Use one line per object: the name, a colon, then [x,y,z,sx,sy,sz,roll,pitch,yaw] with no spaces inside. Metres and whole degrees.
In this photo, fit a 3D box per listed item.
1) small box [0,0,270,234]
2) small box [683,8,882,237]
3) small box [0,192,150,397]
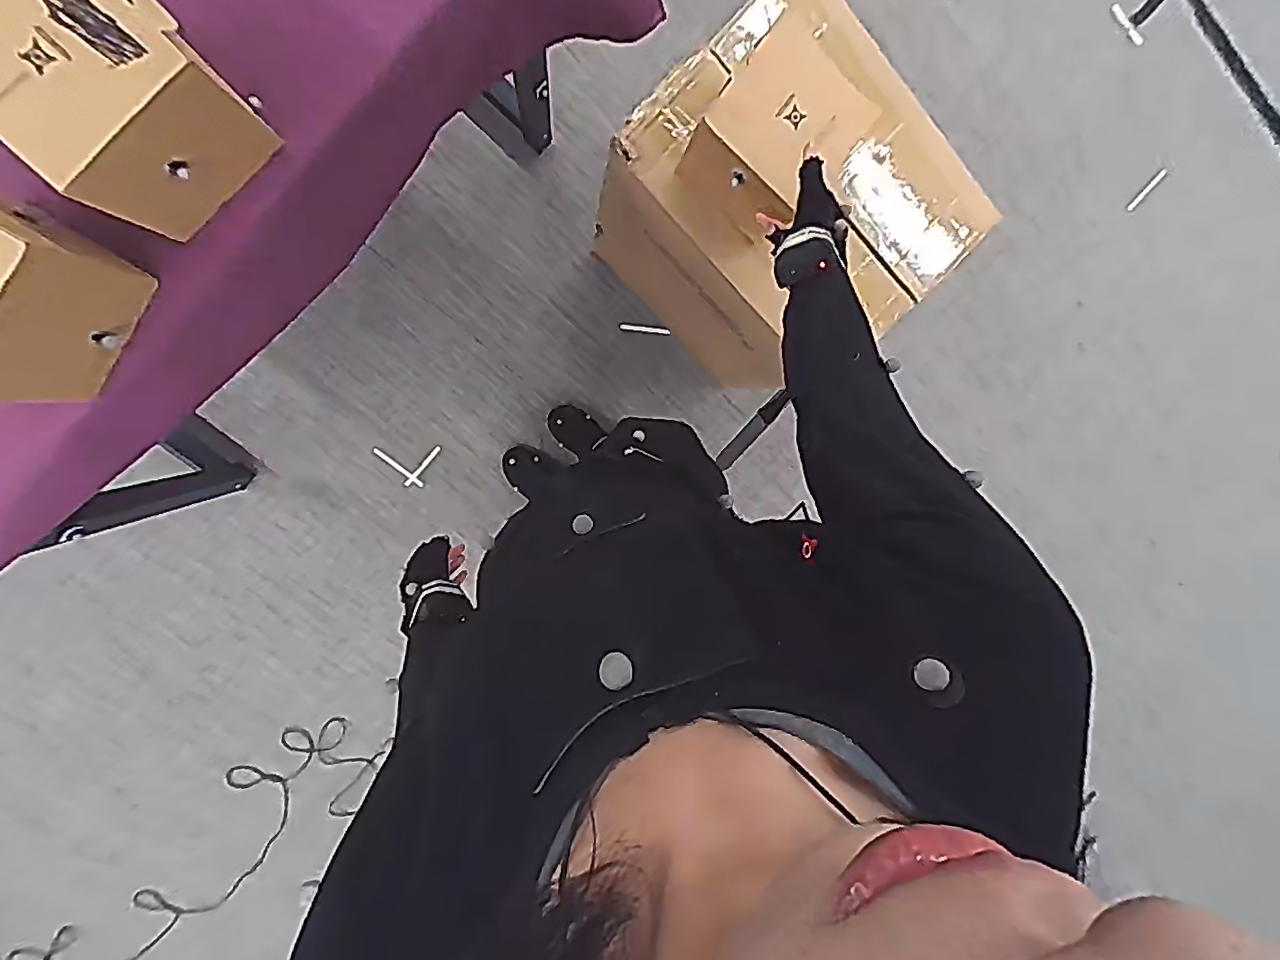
small box: [-0.533,-0.396,0.560,0.179,0.176,0.168,-44,101,1]
small box: [0.183,-0.473,0.752,0.179,0.176,0.168,37,94,-12]
small box: [-0.683,-0.203,0.569,0.168,0.176,0.179,31,92,-10]
